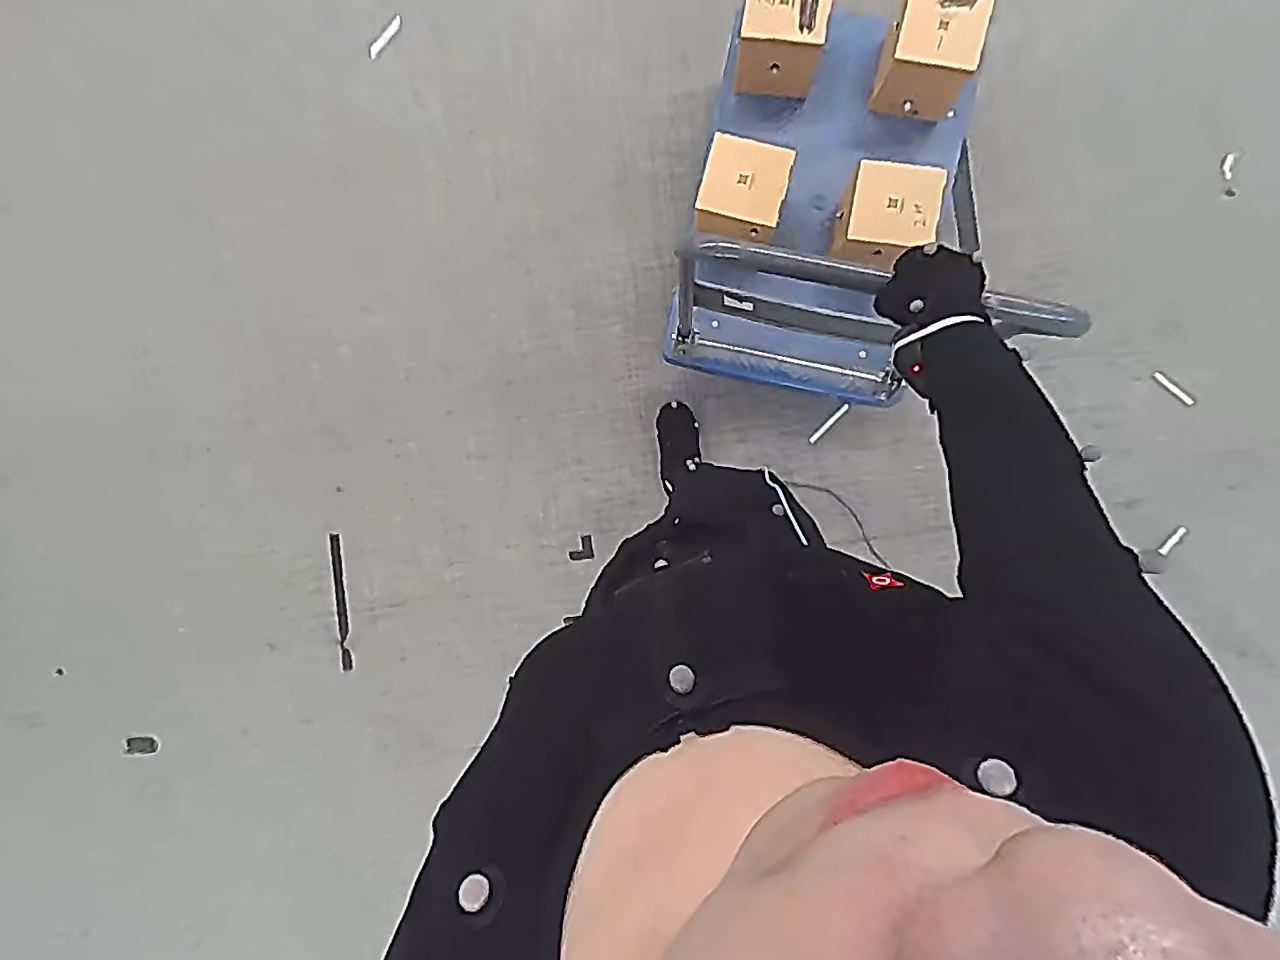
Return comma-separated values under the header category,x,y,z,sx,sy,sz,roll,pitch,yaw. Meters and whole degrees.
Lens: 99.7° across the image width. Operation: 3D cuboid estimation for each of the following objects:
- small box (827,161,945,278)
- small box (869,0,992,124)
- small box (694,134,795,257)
category,x,y,z,sx,sy,sz,roll,pitch,yaw
small box,0.525,-0.559,1.180,0.179,0.176,0.168,10,91,5
small box,0.617,-0.921,1.169,0.168,0.176,0.179,13,93,5
small box,0.223,-0.623,1.204,0.179,0.176,0.168,15,91,3
